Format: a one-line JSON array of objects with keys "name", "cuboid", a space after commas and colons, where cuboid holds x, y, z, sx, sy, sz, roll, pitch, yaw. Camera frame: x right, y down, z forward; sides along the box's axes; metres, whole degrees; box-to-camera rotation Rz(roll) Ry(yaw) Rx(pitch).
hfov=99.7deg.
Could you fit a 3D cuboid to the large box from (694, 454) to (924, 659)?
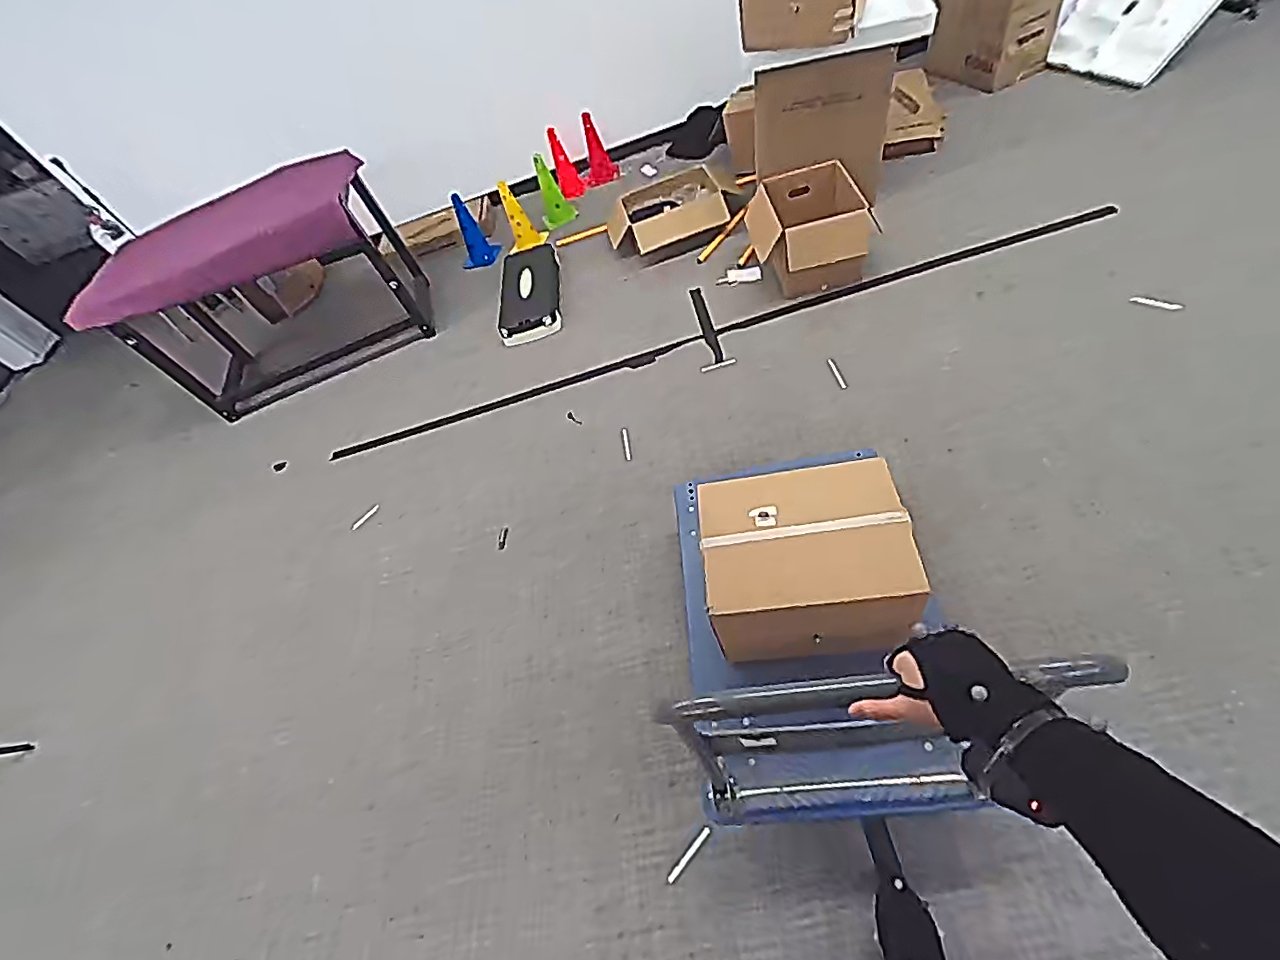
[{"name": "large box", "cuboid": [0.356, 0.185, 1.205, 0.408, 0.320, 0.320, -10, 52, 12]}]
